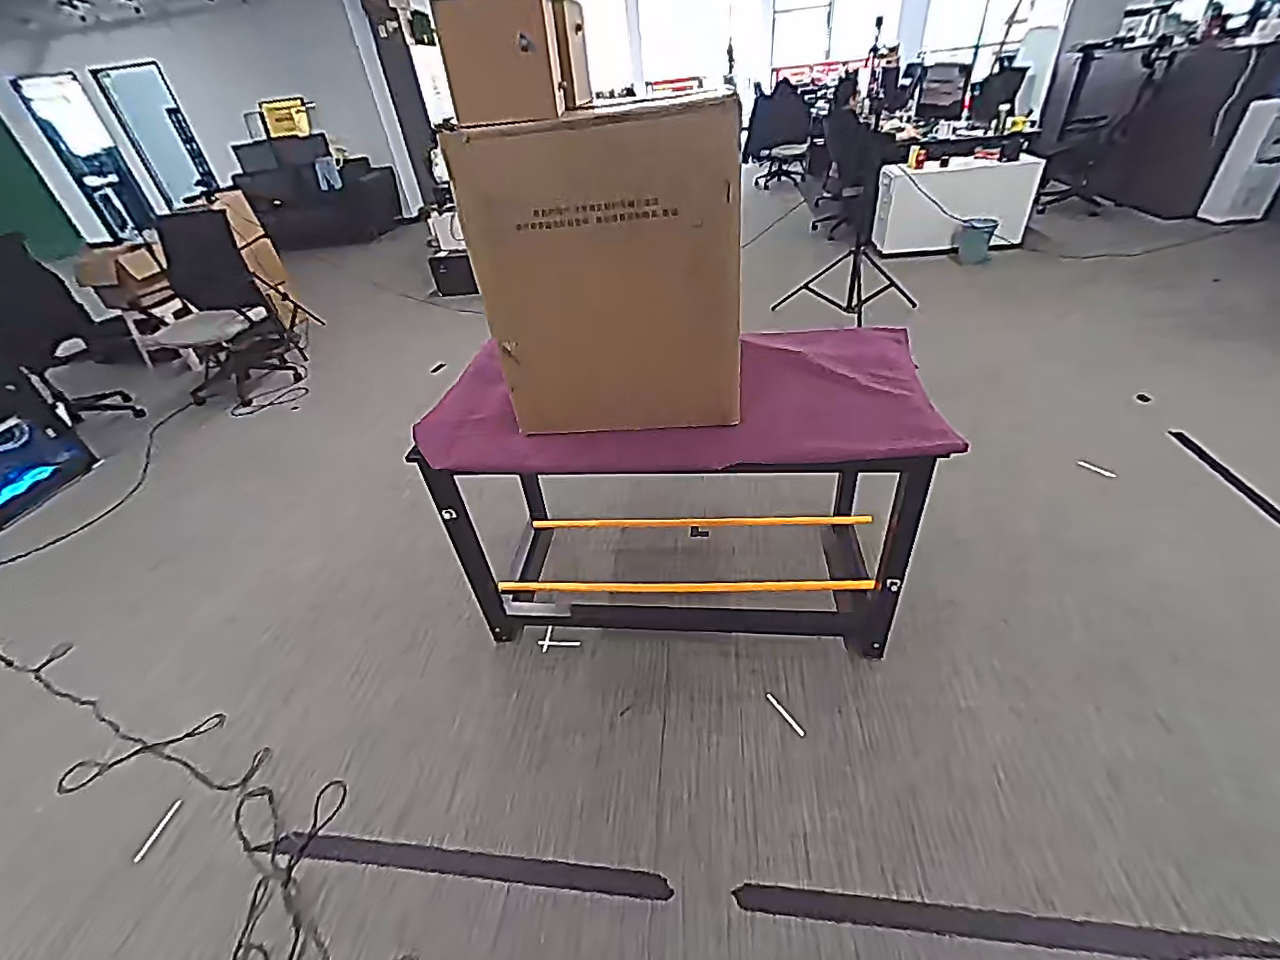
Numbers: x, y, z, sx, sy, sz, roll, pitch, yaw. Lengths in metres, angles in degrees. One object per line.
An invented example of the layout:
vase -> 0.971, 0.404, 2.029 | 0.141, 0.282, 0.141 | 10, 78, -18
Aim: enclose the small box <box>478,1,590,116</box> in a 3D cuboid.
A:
small box -> -0.203, -0.852, 1.104 | 0.168, 0.176, 0.179 | 1, 37, 8
